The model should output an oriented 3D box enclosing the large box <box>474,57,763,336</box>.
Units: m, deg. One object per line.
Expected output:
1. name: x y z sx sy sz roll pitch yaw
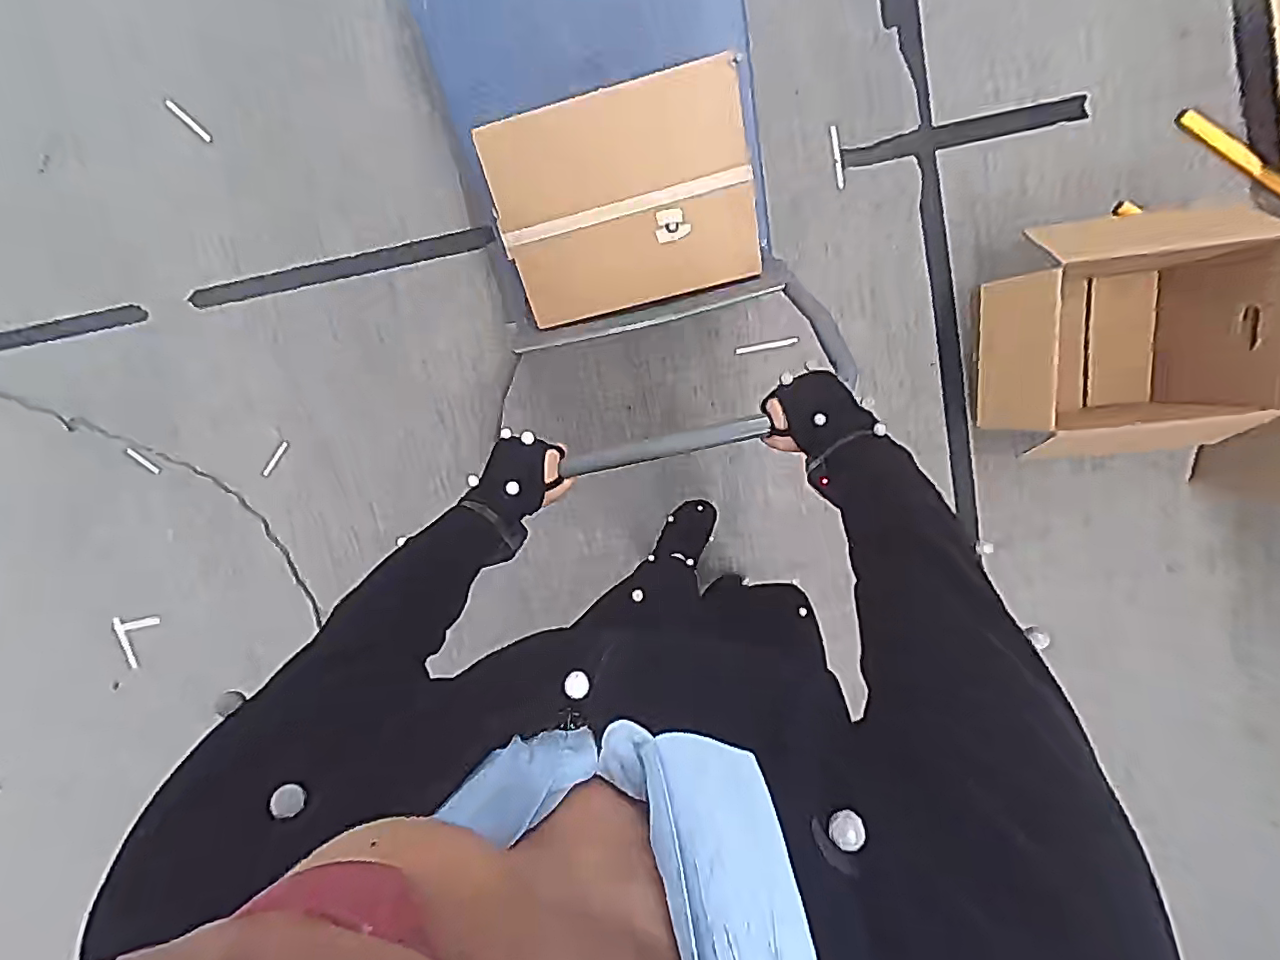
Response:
1. large box: -0.026 -0.497 0.986 0.408 0.320 0.320 -13 120 6
